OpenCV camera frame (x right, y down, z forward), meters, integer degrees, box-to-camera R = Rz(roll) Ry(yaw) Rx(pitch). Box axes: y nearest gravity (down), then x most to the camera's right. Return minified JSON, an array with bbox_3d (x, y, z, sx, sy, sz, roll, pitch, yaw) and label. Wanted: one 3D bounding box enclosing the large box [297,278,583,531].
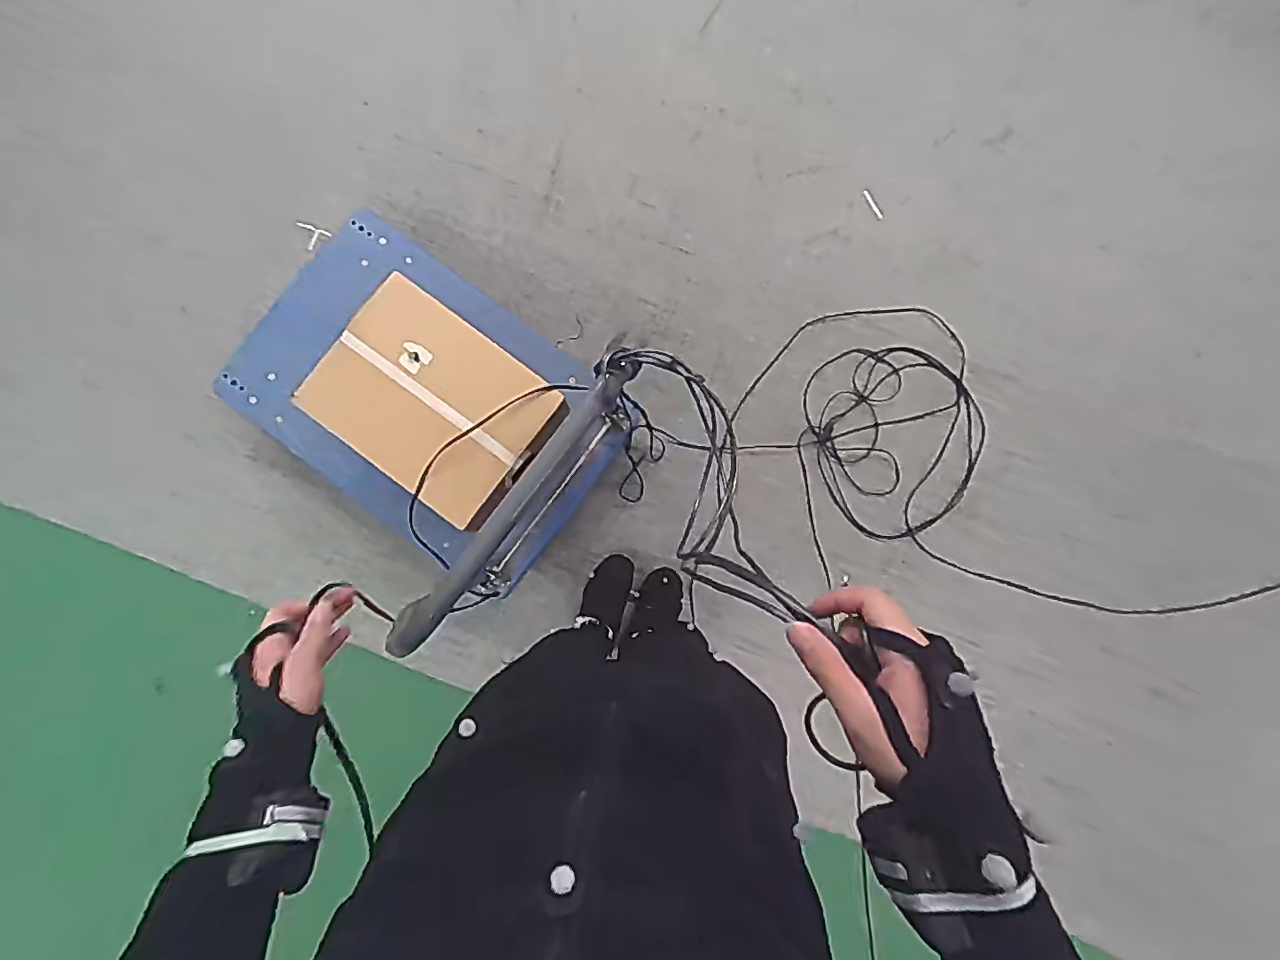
[{"bbox_3d":[-0.377,-0.130,1.131,0.408,0.320,0.320,37,85,2],"label":"large box"}]
